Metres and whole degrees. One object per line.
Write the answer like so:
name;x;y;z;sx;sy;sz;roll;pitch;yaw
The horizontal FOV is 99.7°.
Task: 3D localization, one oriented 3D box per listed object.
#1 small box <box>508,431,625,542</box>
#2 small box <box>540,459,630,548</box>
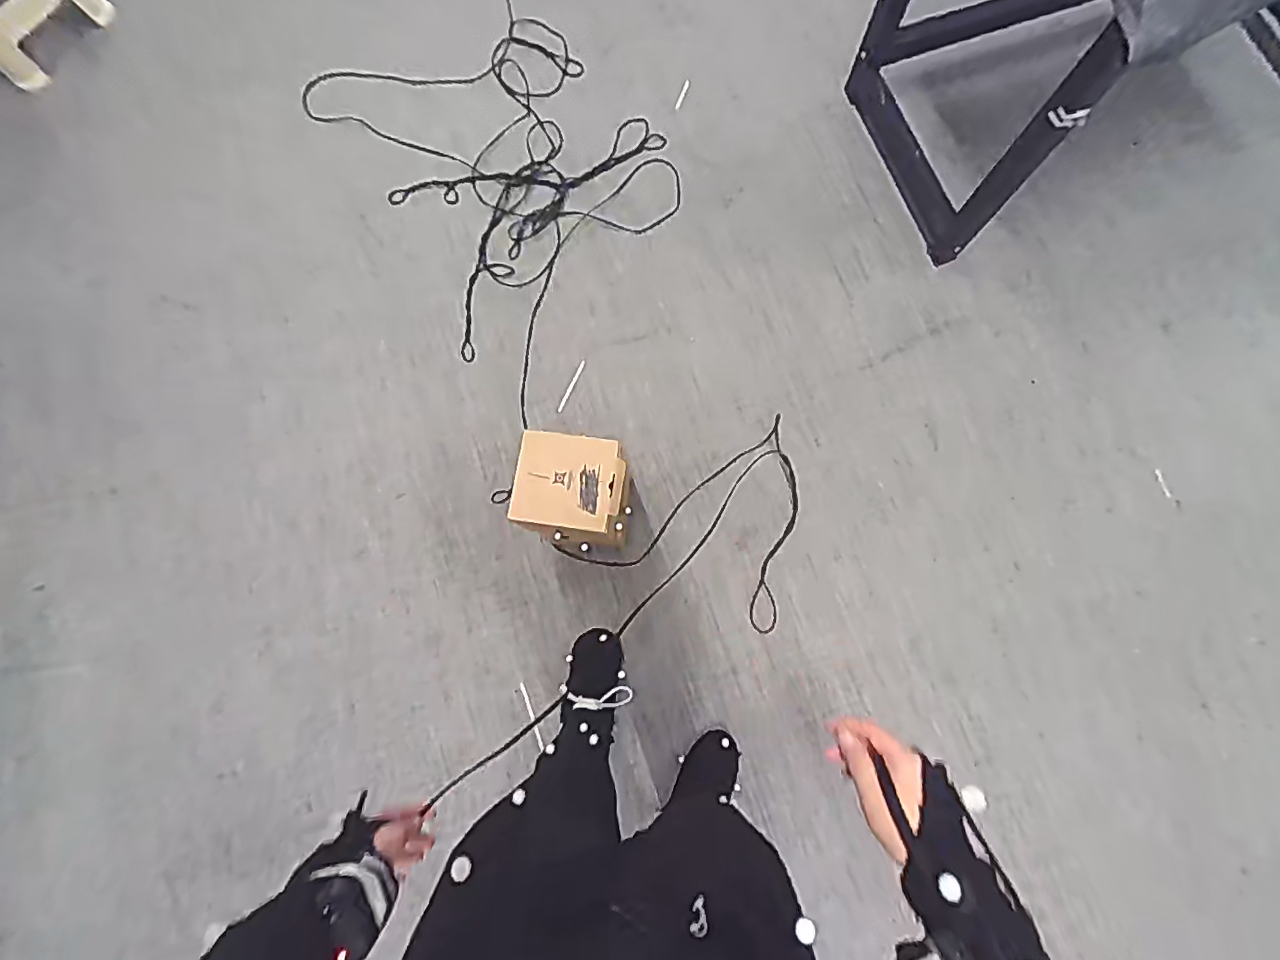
small box;-0.127;0.020;1.015;0.179;0.176;0.168;8;77;4
small box;-0.111;0.052;1.176;0.168;0.176;0.179;3;78;3
